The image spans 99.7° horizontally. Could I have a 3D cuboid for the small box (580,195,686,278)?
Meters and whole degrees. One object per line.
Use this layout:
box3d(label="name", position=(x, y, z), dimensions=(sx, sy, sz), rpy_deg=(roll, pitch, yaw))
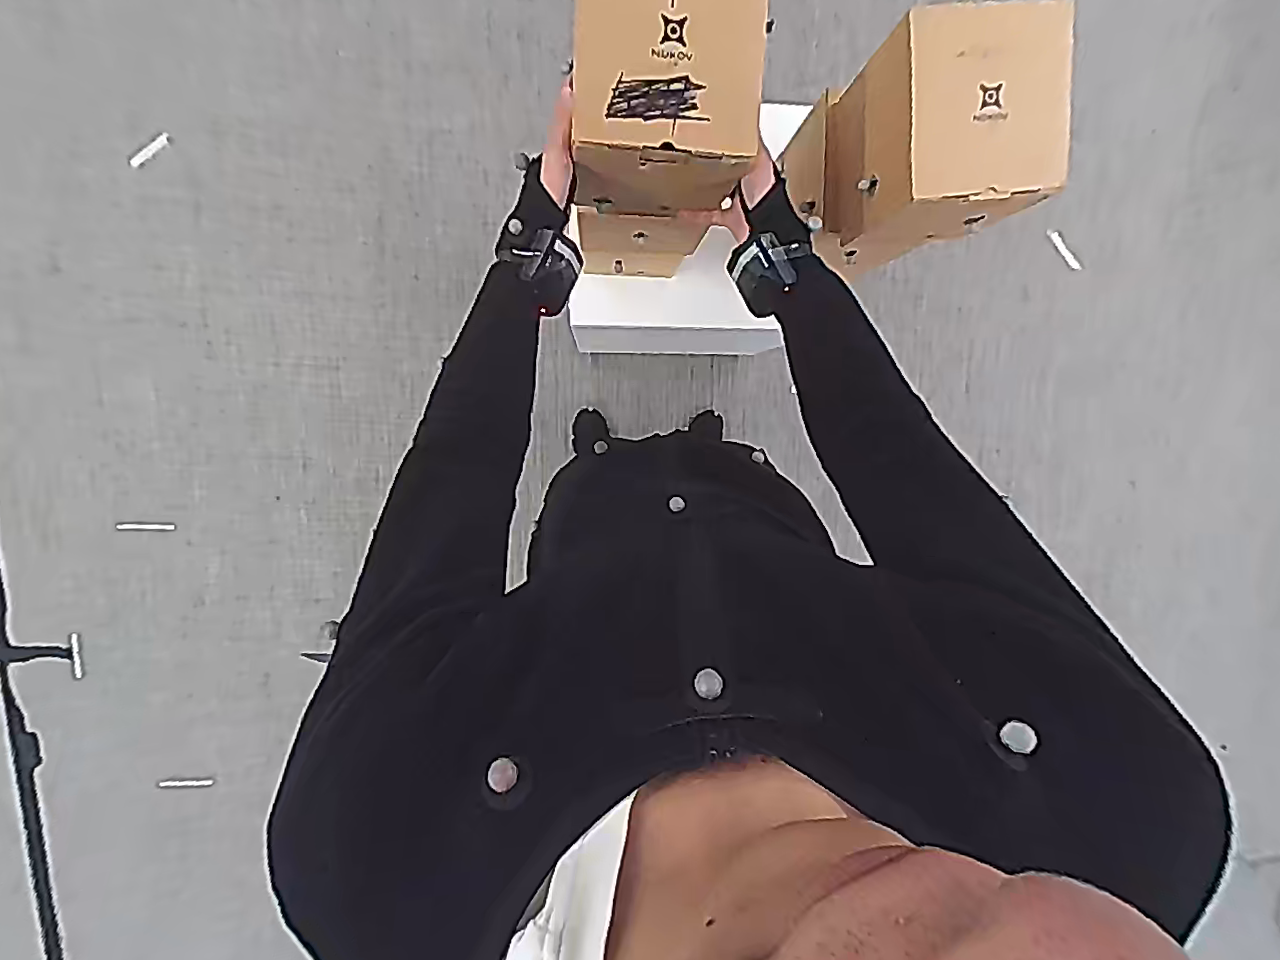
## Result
box3d(label="small box", position=(-0.014, -0.445, 0.902), dimensions=(0.168, 0.176, 0.179), rpy_deg=(0, 97, -5))

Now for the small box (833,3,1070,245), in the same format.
box3d(label="small box", position=(0.332, -0.375, 0.605), dimensions=(0.168, 0.176, 0.179), rpy_deg=(-7, 98, -4))

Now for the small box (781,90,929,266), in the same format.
box3d(label="small box", position=(0.305, -0.410, 0.764), dimensions=(0.168, 0.176, 0.179), rpy_deg=(-1, 98, -4))

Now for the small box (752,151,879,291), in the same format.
box3d(label="small box", position=(0.293, -0.433, 0.927), dimensions=(0.168, 0.176, 0.179), rpy_deg=(-2, 98, -3))

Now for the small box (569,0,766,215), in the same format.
box3d(label="small box", position=(0.016, -0.381, 0.538), dimensions=(0.168, 0.176, 0.179), rpy_deg=(1, 99, -7))
